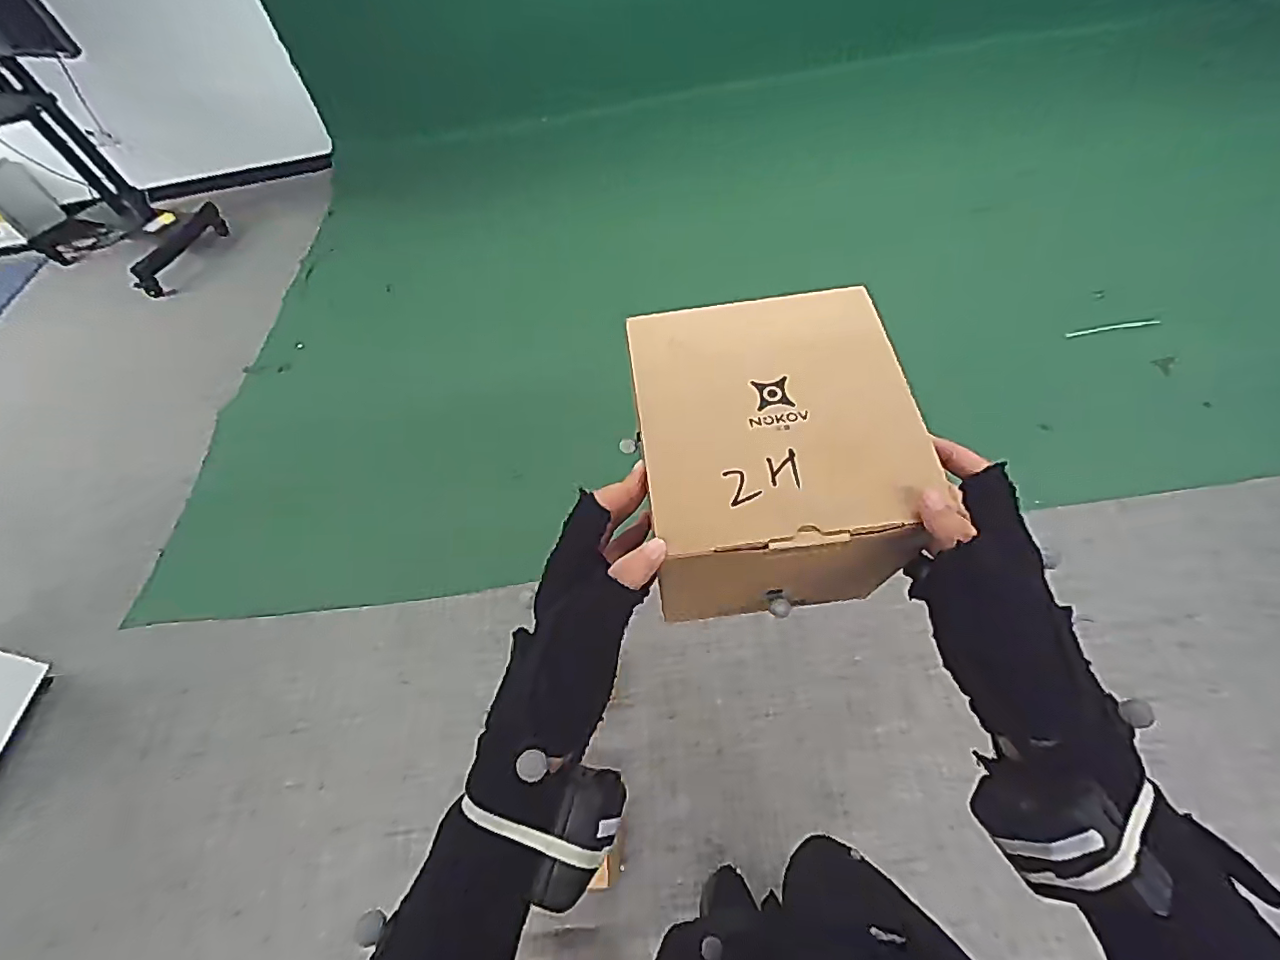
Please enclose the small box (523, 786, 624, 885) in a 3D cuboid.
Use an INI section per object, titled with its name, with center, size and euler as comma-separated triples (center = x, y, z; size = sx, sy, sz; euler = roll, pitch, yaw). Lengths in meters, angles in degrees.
[small box]
center = -0.132, 0.762, 1.163
size = 0.179, 0.176, 0.168
euler = -3, 54, 7
